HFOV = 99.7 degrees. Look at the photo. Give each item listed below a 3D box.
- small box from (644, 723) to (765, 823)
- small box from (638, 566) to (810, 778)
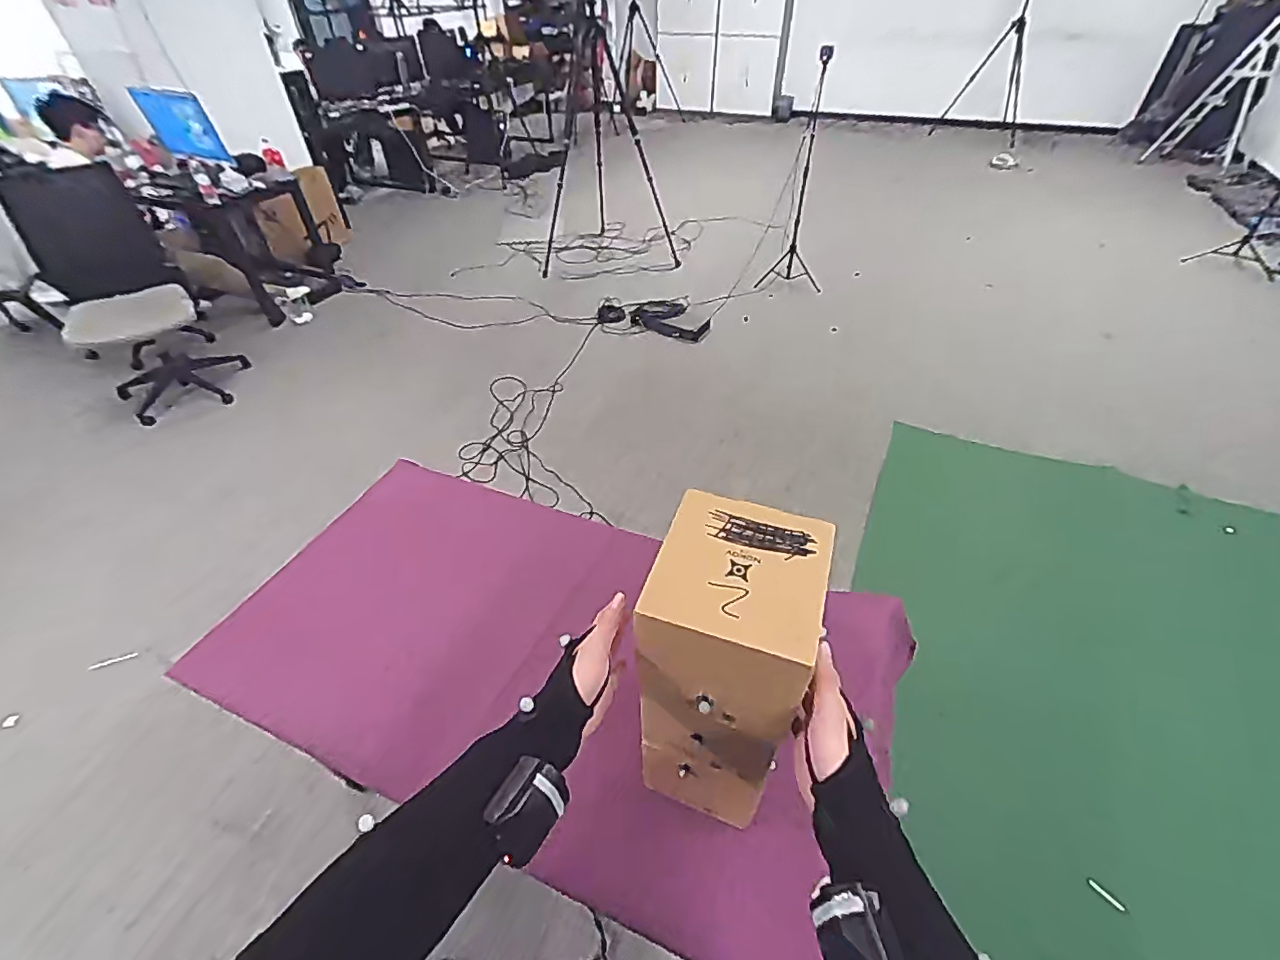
[{"bbox_3d":[0.111,0.372,0.814,0.168,0.176,0.179,14,45,17],"label":"small box"},{"bbox_3d":[0.109,0.250,0.703,0.168,0.176,0.179,16,46,18],"label":"small box"}]
